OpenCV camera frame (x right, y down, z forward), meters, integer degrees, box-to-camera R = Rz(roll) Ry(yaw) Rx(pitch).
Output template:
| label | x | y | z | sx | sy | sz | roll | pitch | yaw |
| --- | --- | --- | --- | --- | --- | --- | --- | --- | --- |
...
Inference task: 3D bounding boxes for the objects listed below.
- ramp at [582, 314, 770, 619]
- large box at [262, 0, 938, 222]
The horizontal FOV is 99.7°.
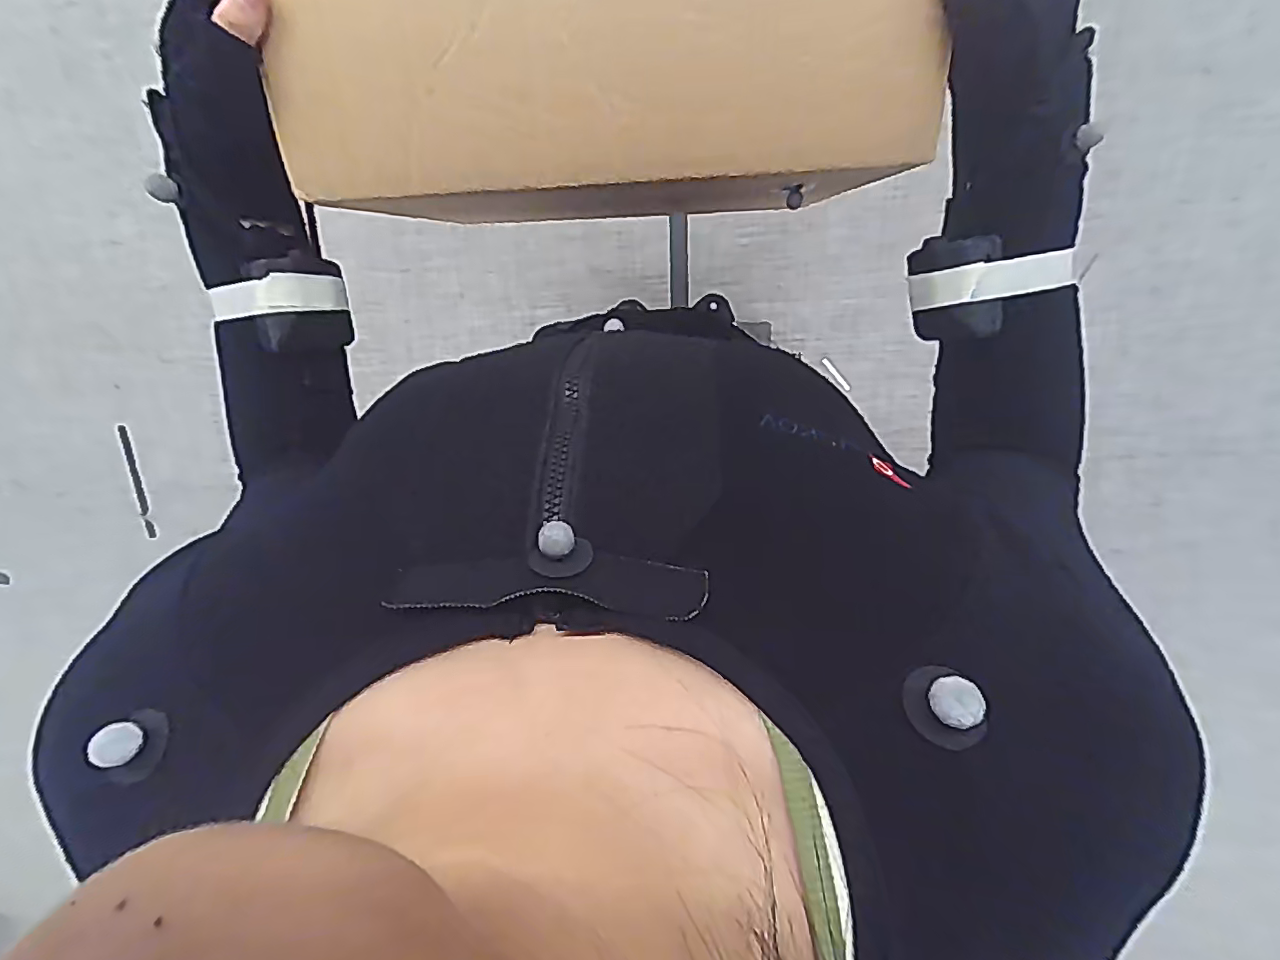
| label | x | y | z | sx | sy | sz | roll | pitch | yaw |
| --- | --- | --- | --- | --- | --- | --- | --- | --- | --- |
| ramp | 0.124 | 0.027 | 1.611 | 0.509 | 0.206 | 0.991 | -3 | 107 | 5 |
| large box | -0.022 | -0.393 | 0.432 | 0.408 | 0.320 | 0.320 | -2 | 112 | 3 |
